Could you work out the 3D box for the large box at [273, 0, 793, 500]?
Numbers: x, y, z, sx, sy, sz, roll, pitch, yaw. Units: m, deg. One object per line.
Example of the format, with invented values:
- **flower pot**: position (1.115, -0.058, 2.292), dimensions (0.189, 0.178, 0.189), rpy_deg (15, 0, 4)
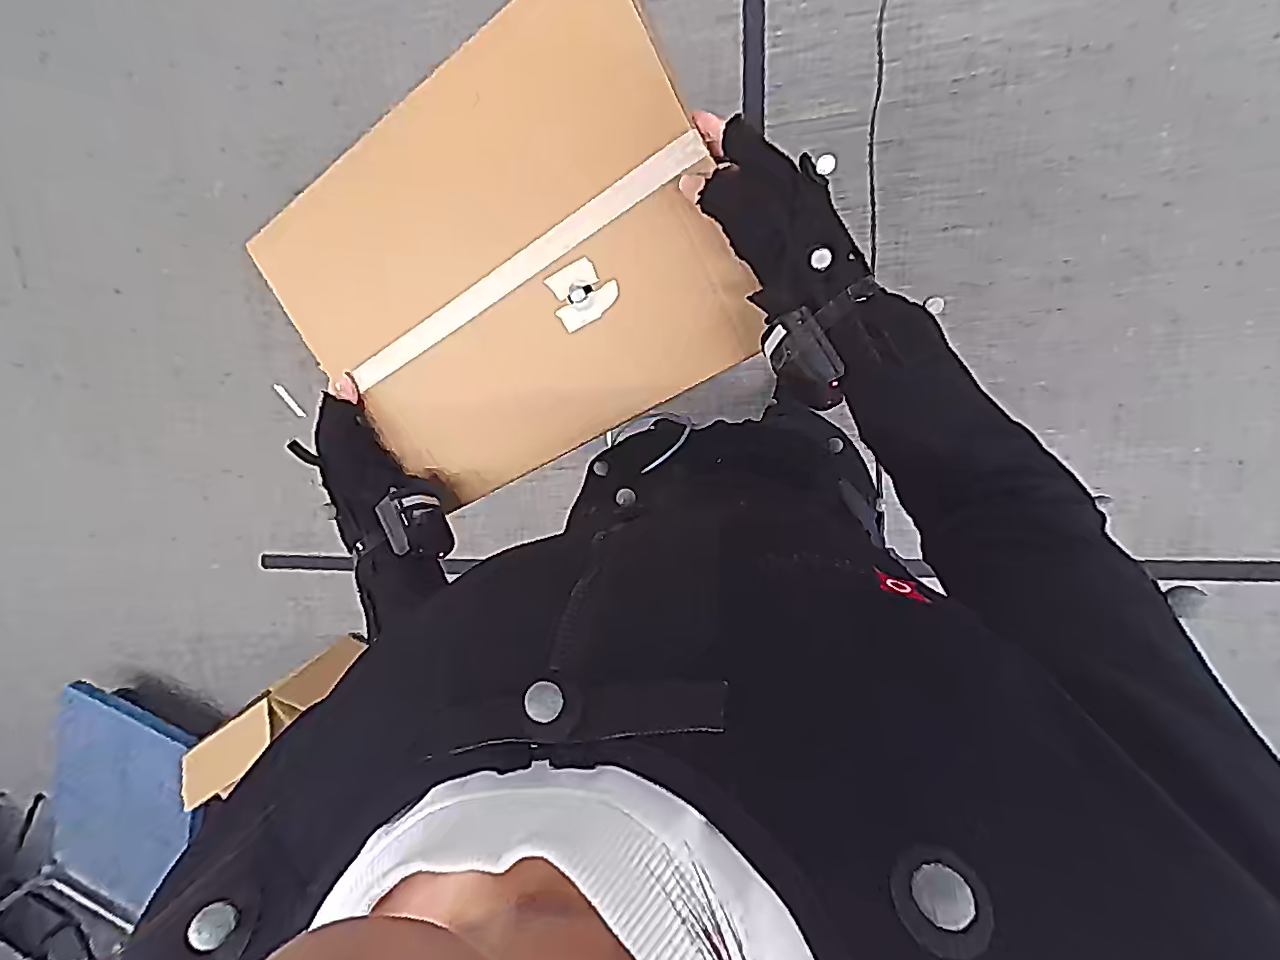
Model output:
- **large box**: position (-0.083, -0.233, 0.613), dimensions (0.408, 0.320, 0.320), rpy_deg (-25, 102, 19)
